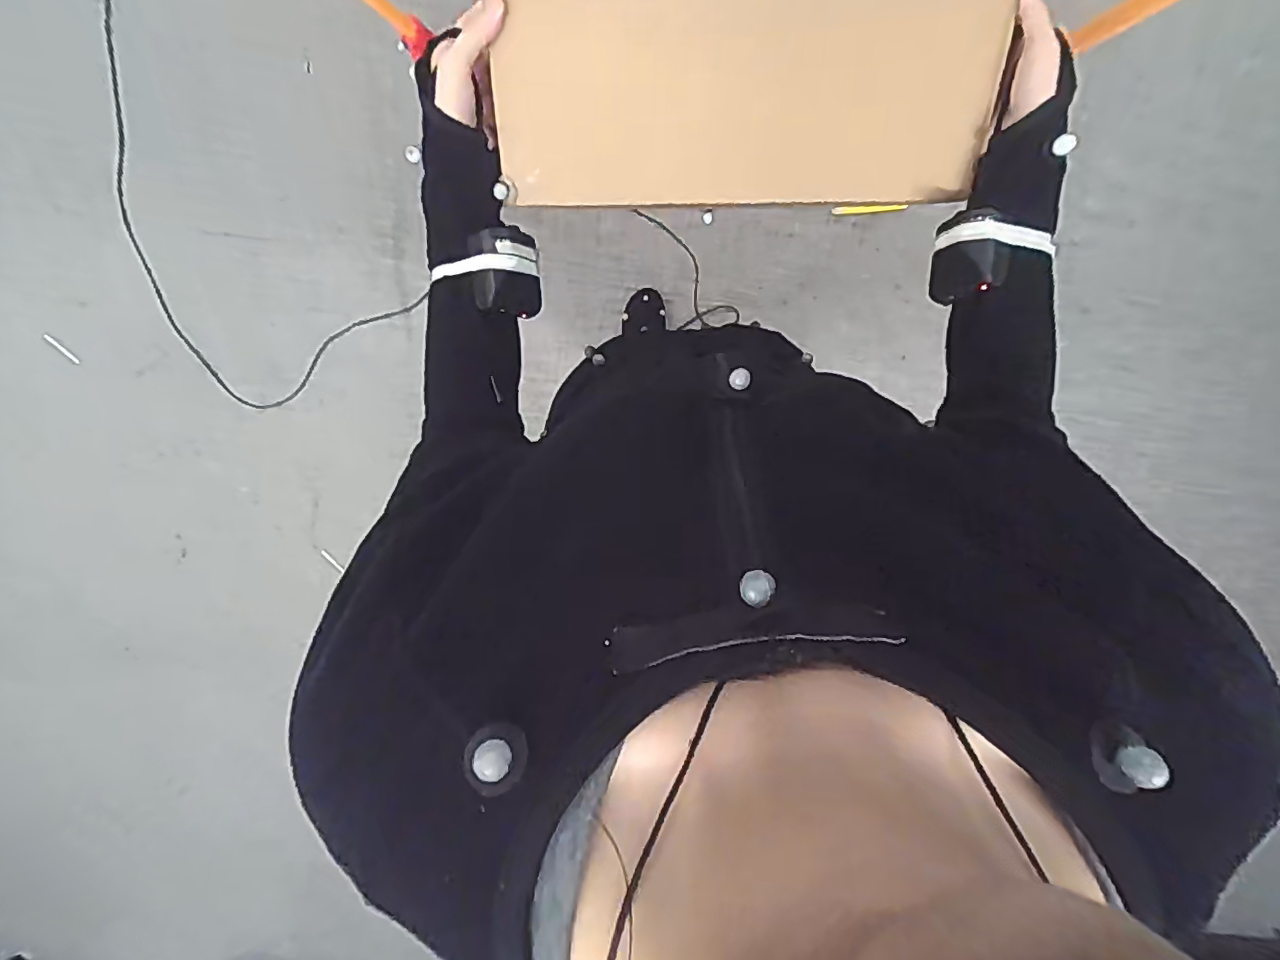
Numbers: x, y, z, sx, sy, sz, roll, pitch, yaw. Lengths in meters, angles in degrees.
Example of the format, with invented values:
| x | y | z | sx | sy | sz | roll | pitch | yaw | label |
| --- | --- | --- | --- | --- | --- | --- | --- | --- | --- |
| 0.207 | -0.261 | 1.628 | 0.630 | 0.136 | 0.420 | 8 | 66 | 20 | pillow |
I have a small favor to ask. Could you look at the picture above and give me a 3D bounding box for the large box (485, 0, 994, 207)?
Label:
| x | y | z | sx | sy | sz | roll | pitch | yaw | label |
| --- | --- | --- | --- | --- | --- | --- | --- | --- | --- |
| 0.074 | -0.451 | 0.539 | 0.408 | 0.320 | 0.320 | -2 | 116 | -2 | large box |
